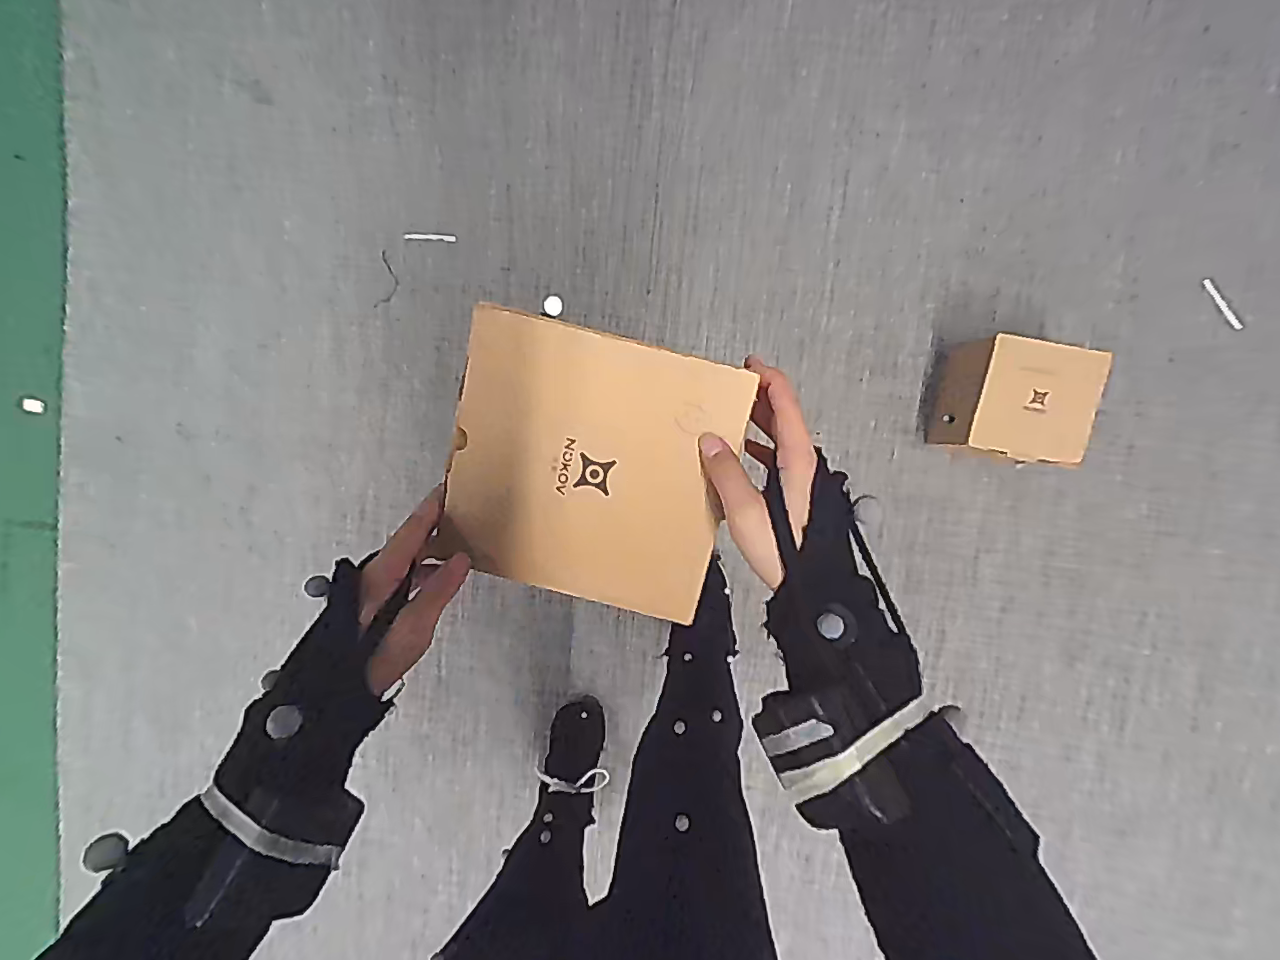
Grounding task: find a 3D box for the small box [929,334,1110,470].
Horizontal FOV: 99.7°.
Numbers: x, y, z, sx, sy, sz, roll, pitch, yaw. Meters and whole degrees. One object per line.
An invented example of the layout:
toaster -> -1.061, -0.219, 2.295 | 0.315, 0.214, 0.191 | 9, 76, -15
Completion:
small box -> 0.599, -0.121, 0.882 | 0.168, 0.176, 0.179 | 12, 95, 6
